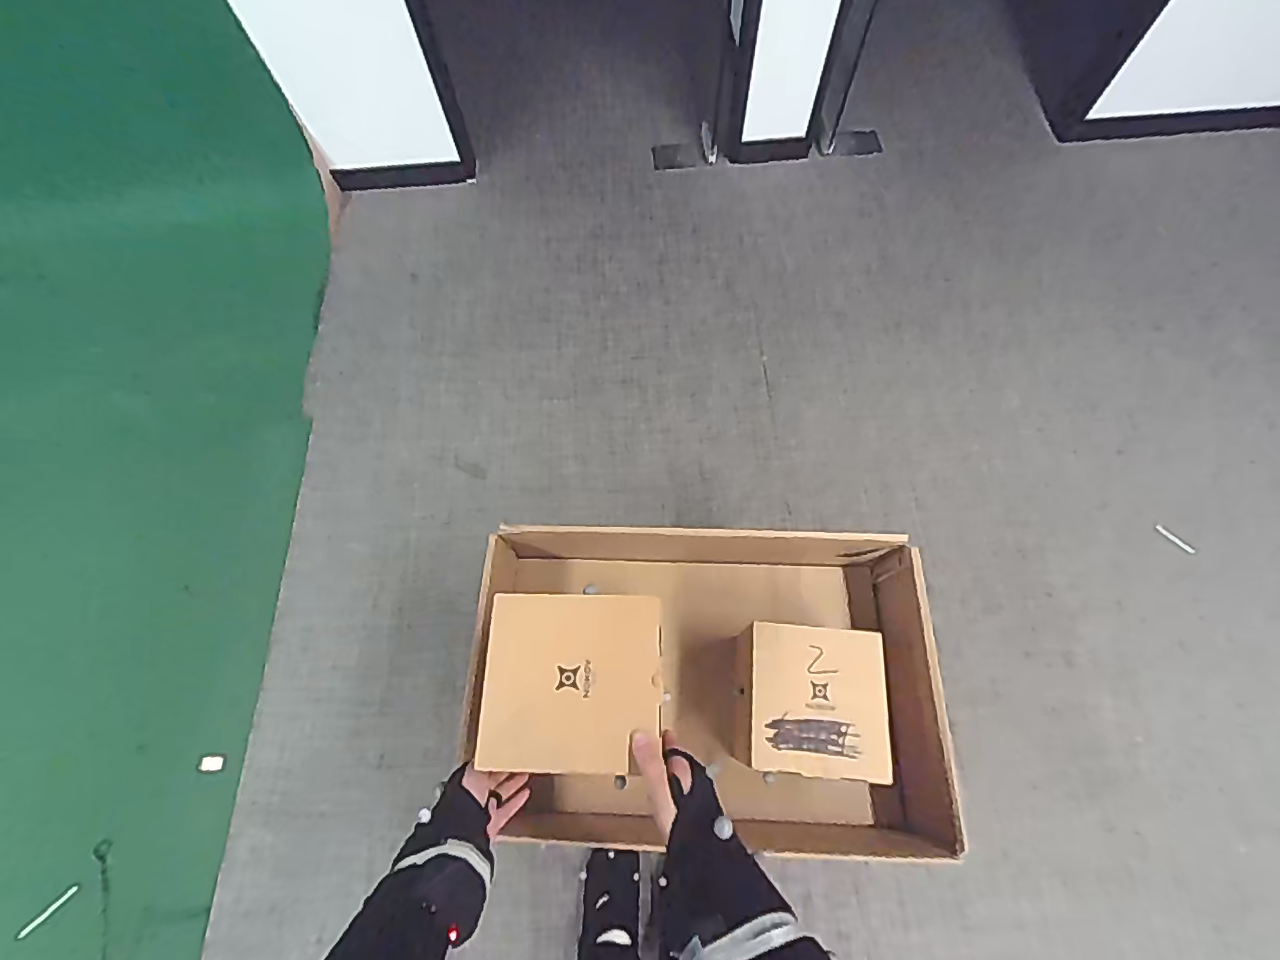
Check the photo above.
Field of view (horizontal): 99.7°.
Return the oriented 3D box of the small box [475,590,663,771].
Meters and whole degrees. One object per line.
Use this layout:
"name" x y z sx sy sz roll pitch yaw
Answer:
"small box" -0.064 0.223 0.604 0.179 0.176 0.168 1 67 0
